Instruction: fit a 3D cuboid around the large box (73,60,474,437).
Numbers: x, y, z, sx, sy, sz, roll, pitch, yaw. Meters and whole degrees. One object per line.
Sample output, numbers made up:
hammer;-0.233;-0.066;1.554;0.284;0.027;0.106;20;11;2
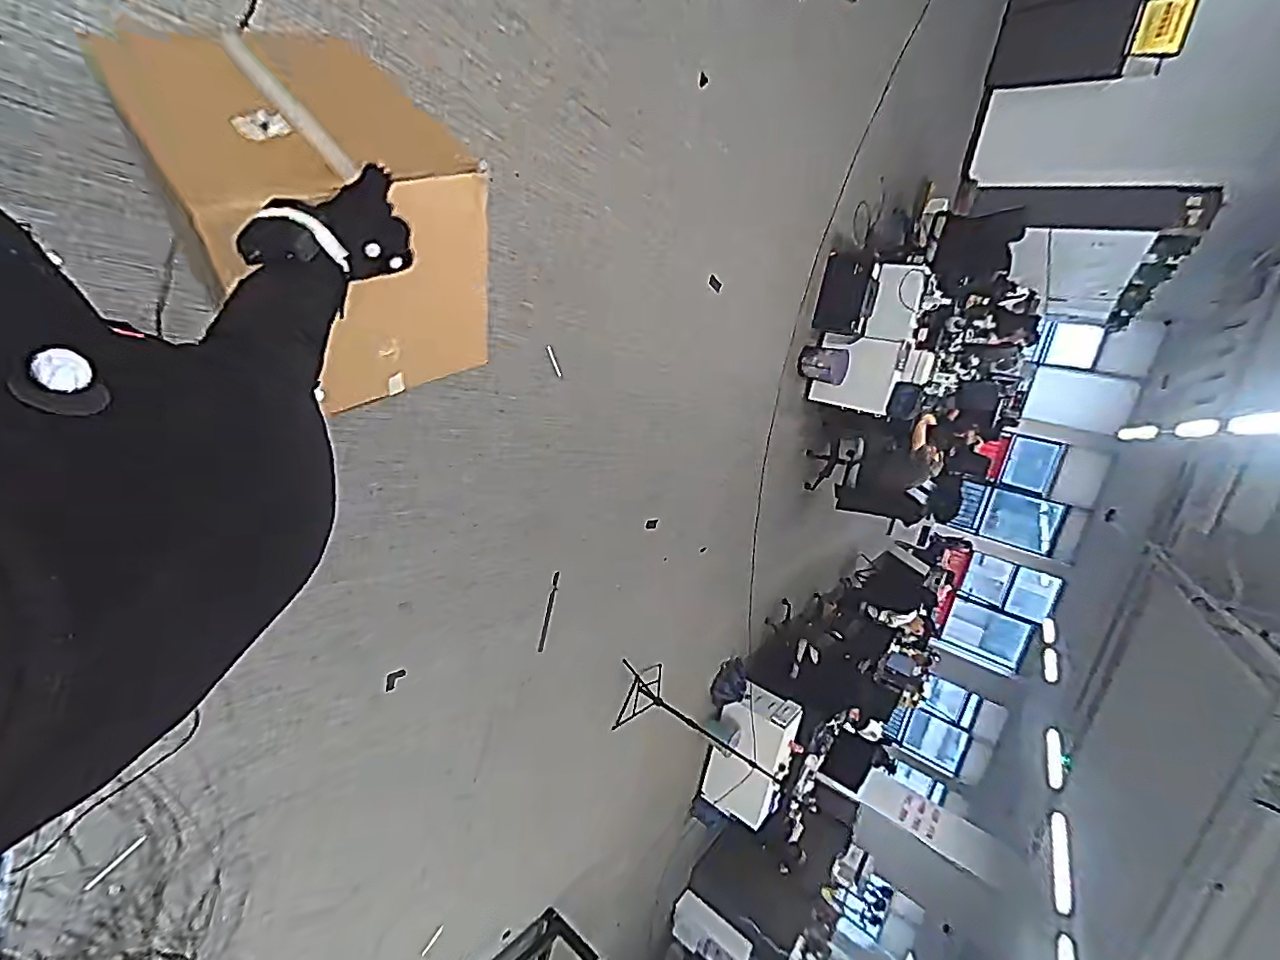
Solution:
large box;-0.482;-0.339;0.782;0.320;0.408;0.320;-30;157;-32
